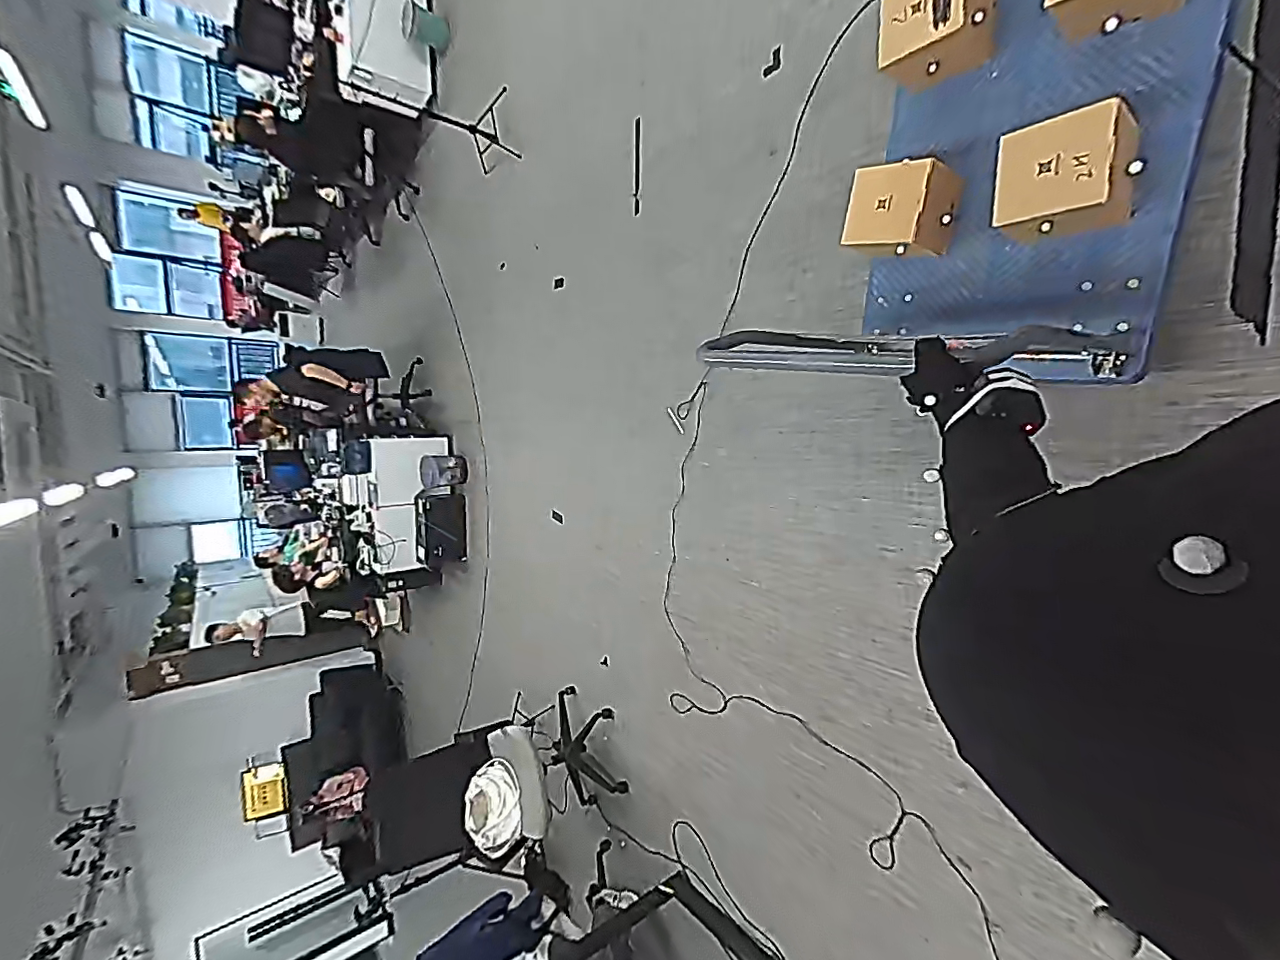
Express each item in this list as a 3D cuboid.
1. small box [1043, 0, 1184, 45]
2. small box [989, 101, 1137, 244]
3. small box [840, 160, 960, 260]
[{"bbox_3d":[0.830,-0.903,0.926,0.168,0.176,0.179,19,109,49],"label":"small box"},{"bbox_3d":[0.790,-0.557,1.013,0.179,0.176,0.168,10,102,50],"label":"small box"},{"bbox_3d":[0.598,-0.611,1.247,0.179,0.176,0.168,24,111,46],"label":"small box"}]
